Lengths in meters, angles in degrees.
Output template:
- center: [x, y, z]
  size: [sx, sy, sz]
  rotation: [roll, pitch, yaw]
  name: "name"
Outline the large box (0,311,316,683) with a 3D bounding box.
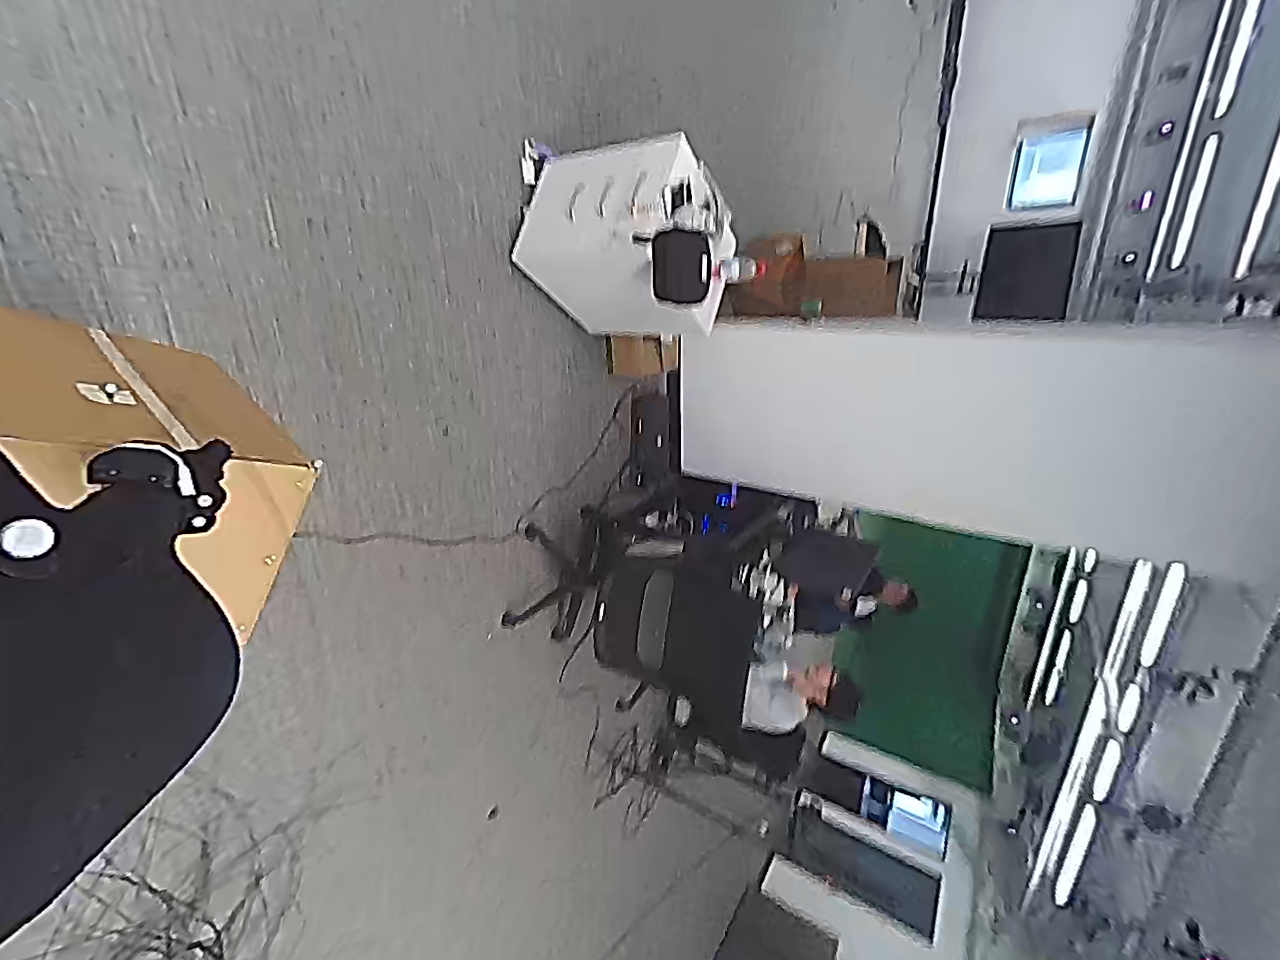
- center: [-0.757, 0.006, 0.761]
  size: [0.320, 0.408, 0.320]
  rotation: [4, 117, -61]
  name: "large box"
